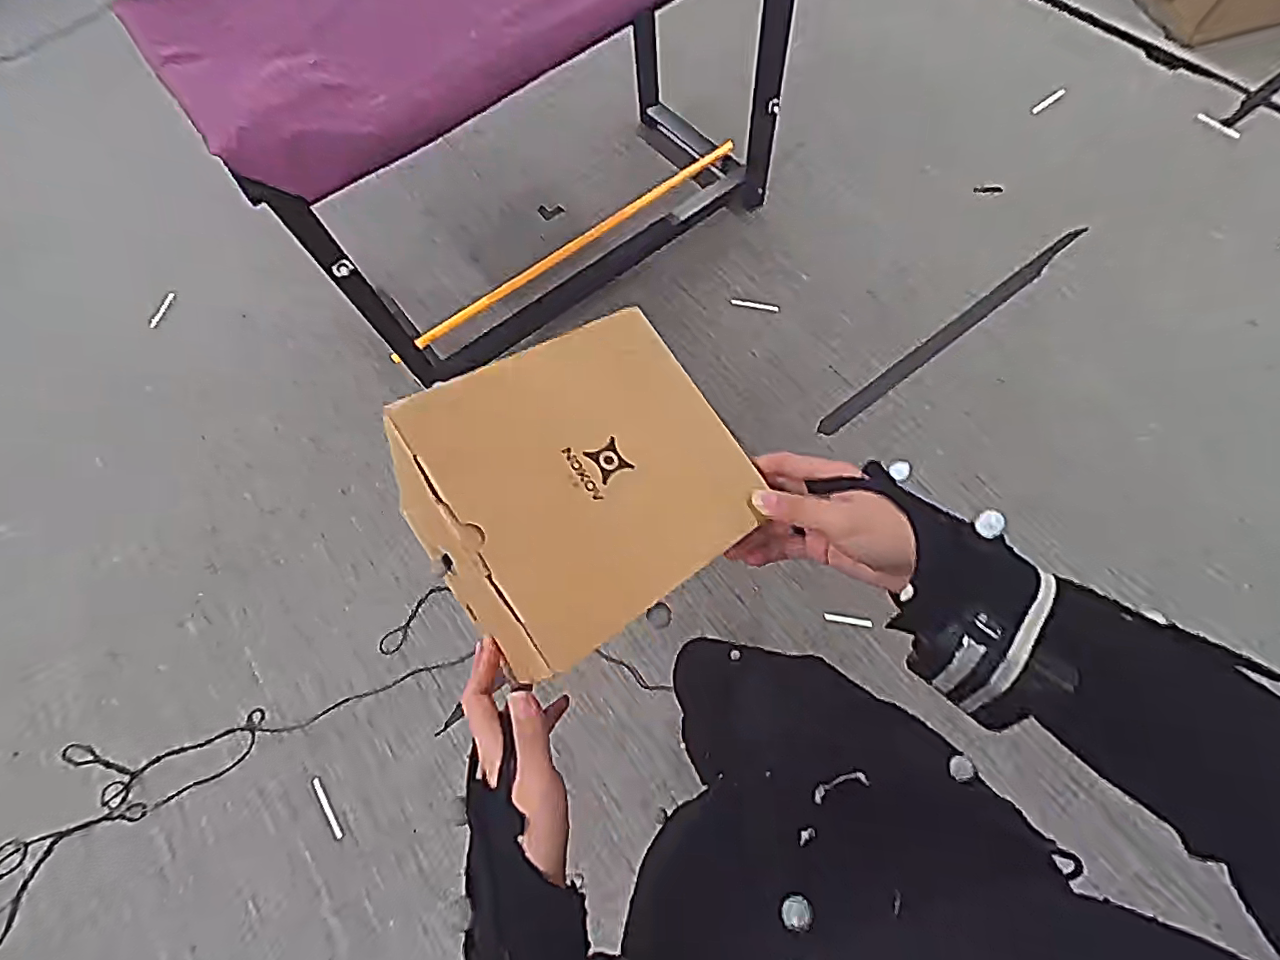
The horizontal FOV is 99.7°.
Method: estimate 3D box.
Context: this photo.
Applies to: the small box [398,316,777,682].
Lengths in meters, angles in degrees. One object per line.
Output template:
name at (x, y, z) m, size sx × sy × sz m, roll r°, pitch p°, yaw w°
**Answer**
small box at (-0.047, 0.021, 0.384) m, size 0.179 × 0.176 × 0.168 m, roll -31°, pitch 82°, yaw -27°
